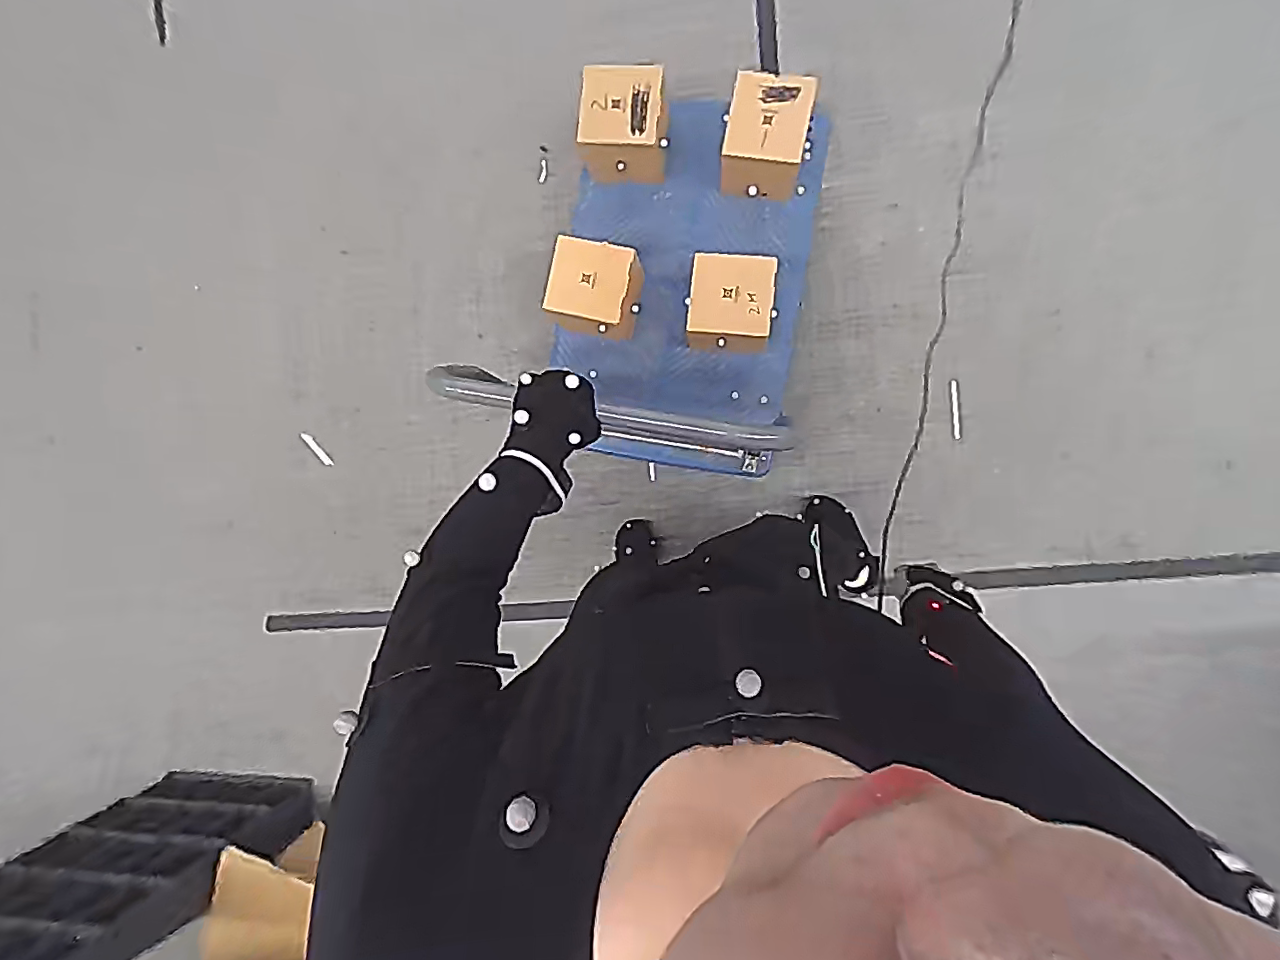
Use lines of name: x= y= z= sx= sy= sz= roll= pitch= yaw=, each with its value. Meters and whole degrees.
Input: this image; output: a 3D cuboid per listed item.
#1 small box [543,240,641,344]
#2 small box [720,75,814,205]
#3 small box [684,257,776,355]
small box: x=-0.105 y=-0.426 z=1.252 sx=0.179 sy=0.176 sz=0.168 roll=13 pitch=92 yaw=5
small box: x=0.272 y=-0.745 z=1.198 sx=0.168 sy=0.176 sz=0.179 roll=11 pitch=93 yaw=7
small box: x=0.199 y=-0.382 z=1.212 sx=0.179 sy=0.176 sz=0.168 roll=6 pitch=92 yaw=7
